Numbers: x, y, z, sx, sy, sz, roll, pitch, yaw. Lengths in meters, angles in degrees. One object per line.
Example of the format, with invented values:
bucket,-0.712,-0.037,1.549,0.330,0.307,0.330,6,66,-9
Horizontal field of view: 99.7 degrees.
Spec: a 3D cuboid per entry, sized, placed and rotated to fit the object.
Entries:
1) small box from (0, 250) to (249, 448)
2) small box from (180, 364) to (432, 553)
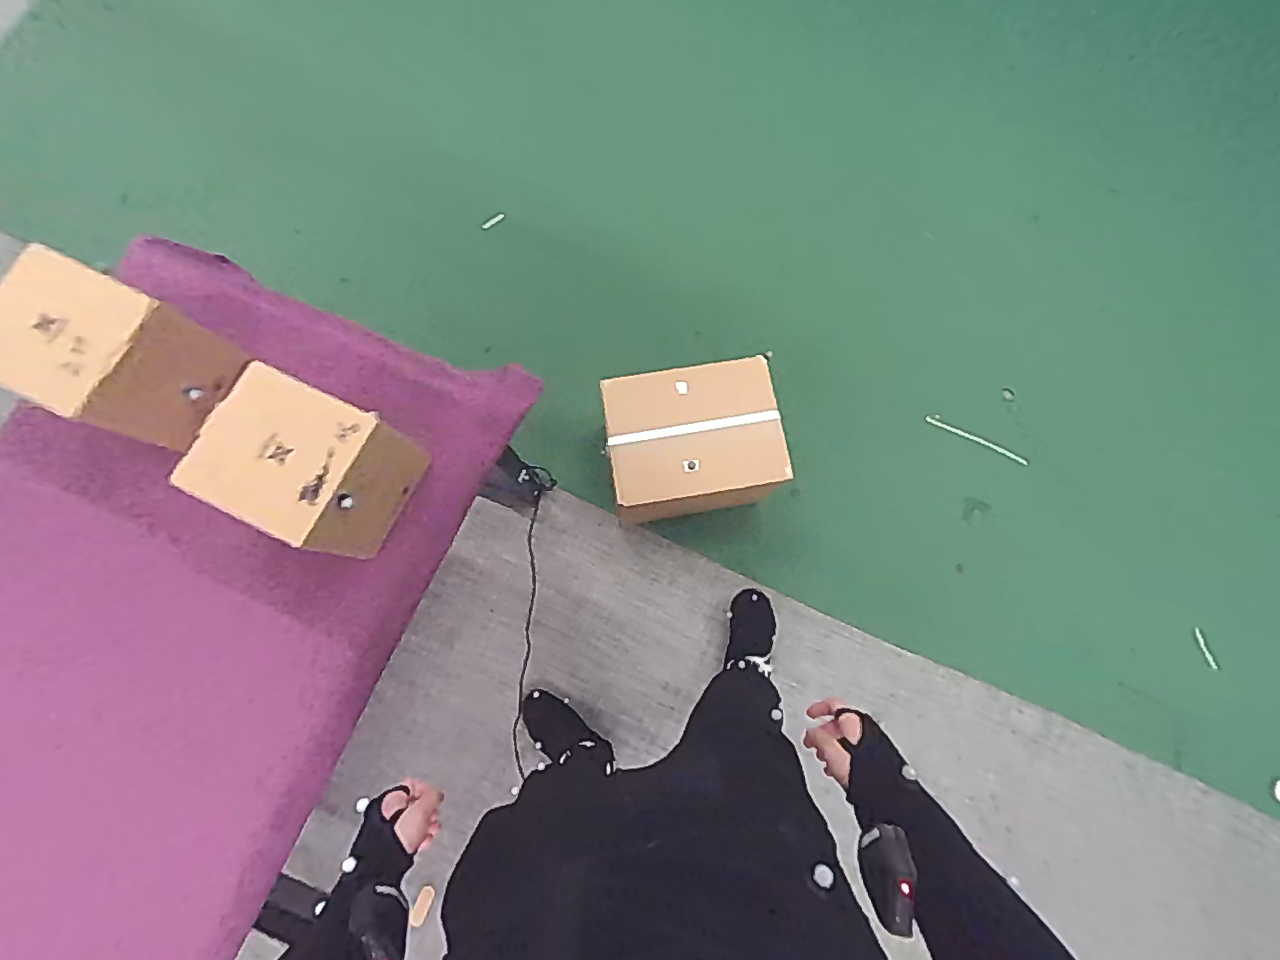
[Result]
small box,-0.686,-0.159,0.717,0.179,0.176,0.168,26,80,3
small box,-0.407,-0.015,0.693,0.179,0.176,0.168,25,79,6
